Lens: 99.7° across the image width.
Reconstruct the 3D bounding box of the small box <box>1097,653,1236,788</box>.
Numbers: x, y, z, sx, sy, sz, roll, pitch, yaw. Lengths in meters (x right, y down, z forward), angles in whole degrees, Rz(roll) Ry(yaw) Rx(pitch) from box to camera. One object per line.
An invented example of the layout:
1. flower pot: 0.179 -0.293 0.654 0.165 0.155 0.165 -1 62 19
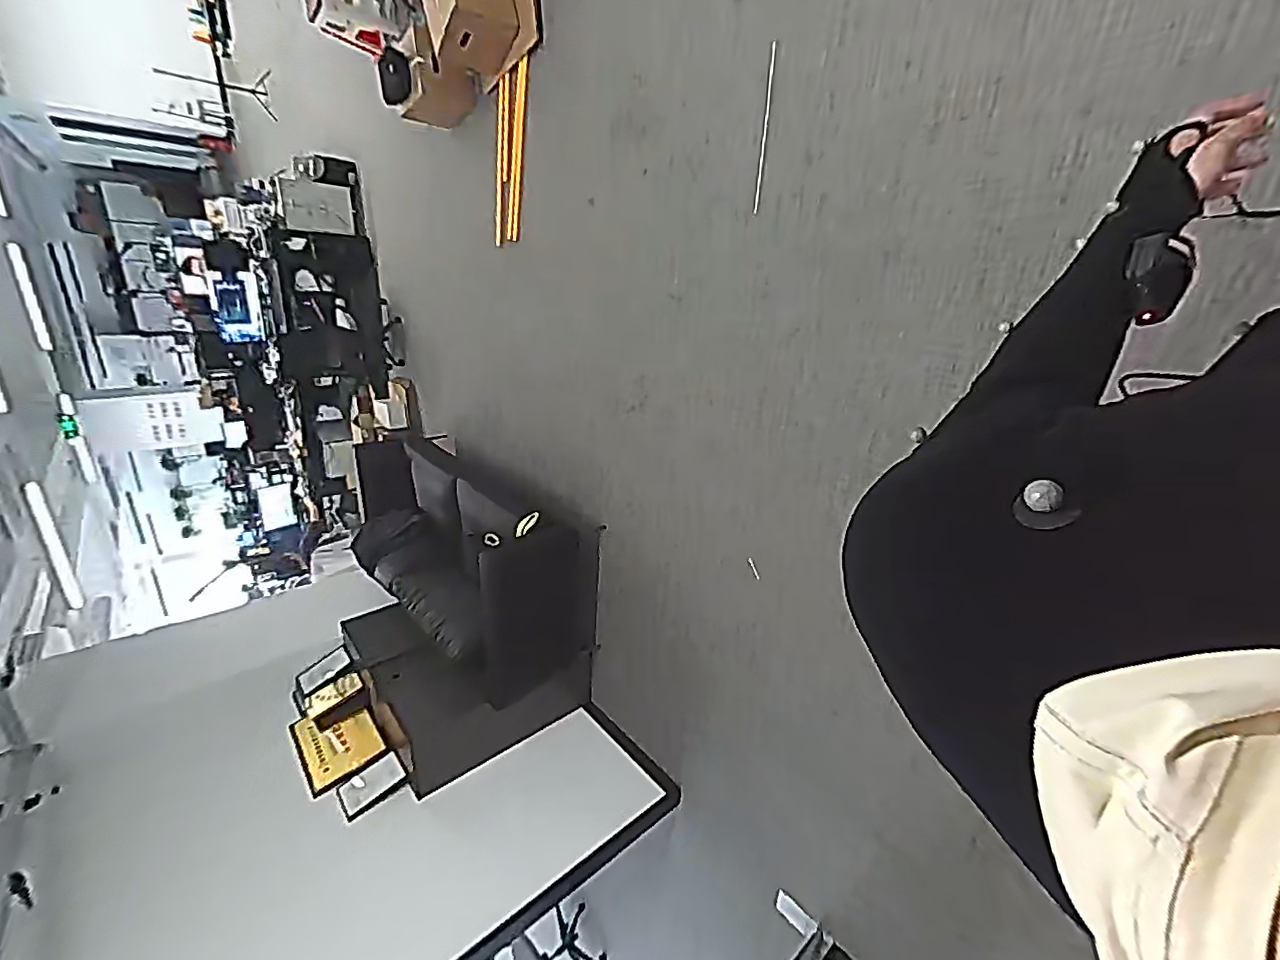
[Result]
1. small box: 1.160 0.519 1.189 0.168 0.176 0.179 30 123 41
